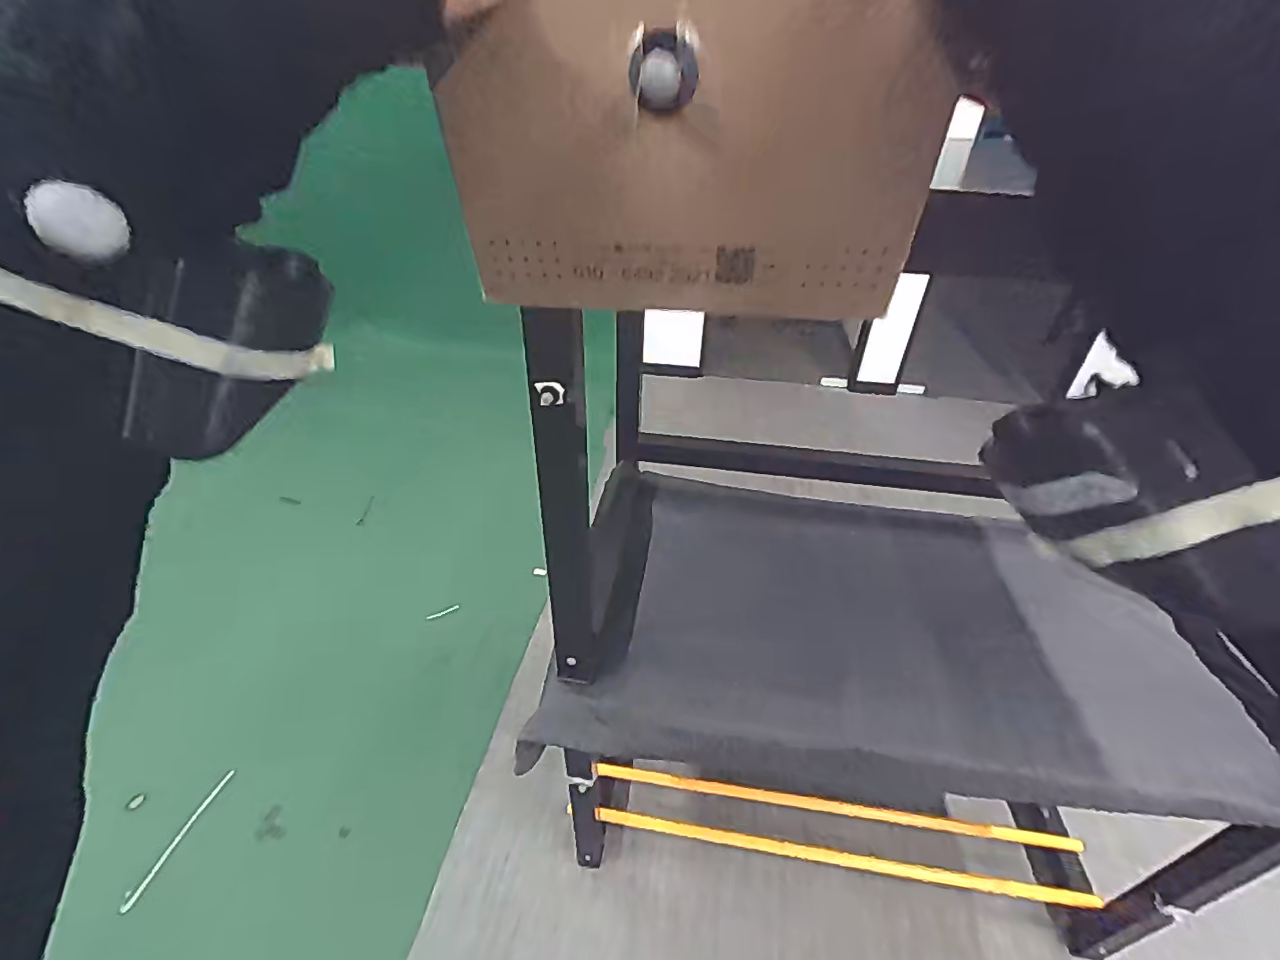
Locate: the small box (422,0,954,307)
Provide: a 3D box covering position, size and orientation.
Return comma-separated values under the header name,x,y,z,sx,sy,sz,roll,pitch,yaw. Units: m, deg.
name,x,y,z,sx,sy,sz,roll,pitch,yaw
small box,0.024,-0.187,0.227,0.168,0.176,0.179,4,44,7
